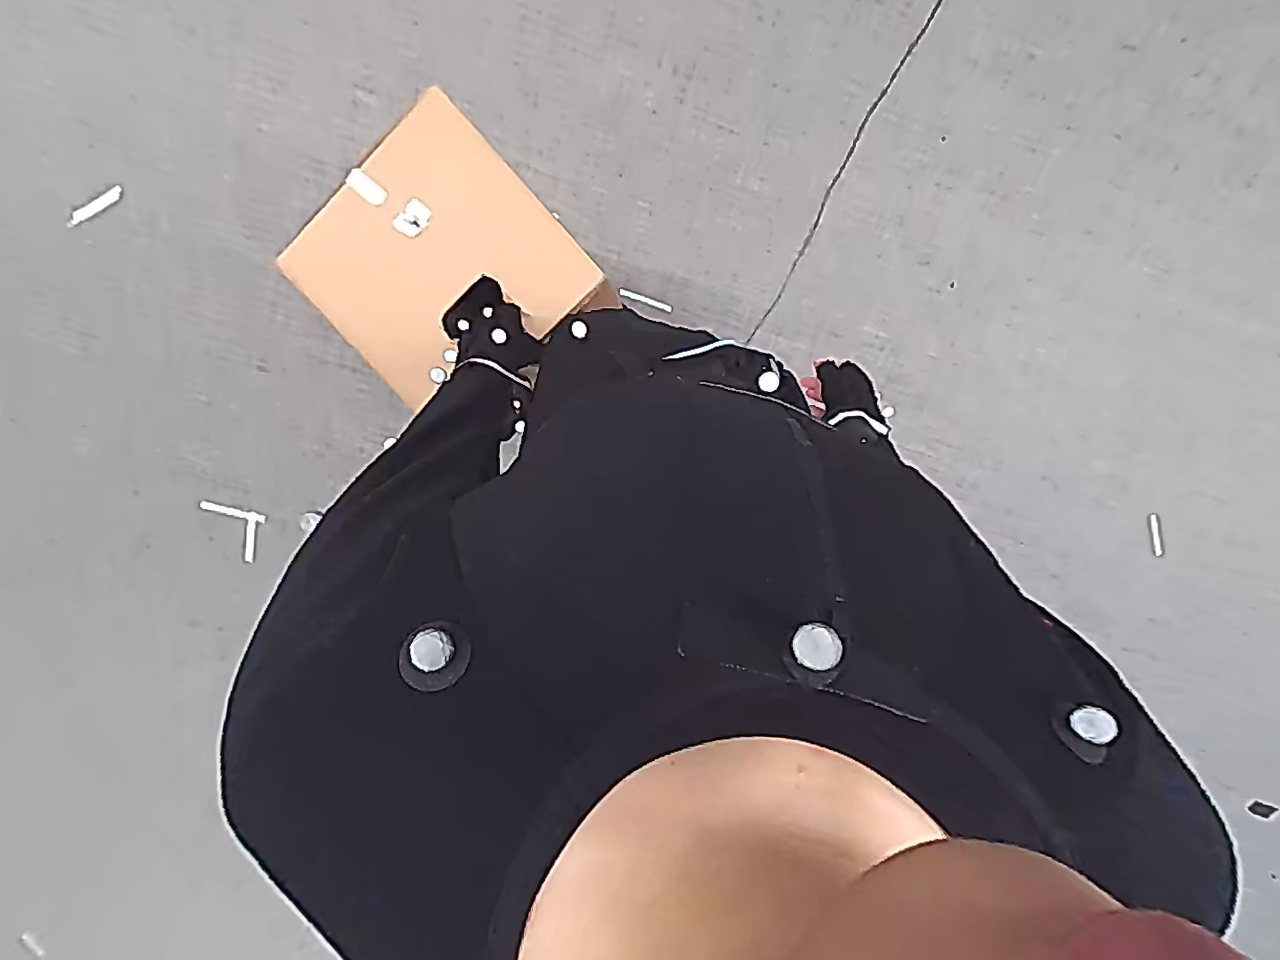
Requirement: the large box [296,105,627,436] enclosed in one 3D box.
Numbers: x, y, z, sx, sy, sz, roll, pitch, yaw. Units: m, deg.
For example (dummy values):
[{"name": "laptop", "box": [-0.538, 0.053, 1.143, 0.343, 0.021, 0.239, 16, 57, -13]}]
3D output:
[{"name": "large box", "box": [-0.246, -0.304, 0.900, 0.320, 0.408, 0.320, -39, 97, 8]}]
